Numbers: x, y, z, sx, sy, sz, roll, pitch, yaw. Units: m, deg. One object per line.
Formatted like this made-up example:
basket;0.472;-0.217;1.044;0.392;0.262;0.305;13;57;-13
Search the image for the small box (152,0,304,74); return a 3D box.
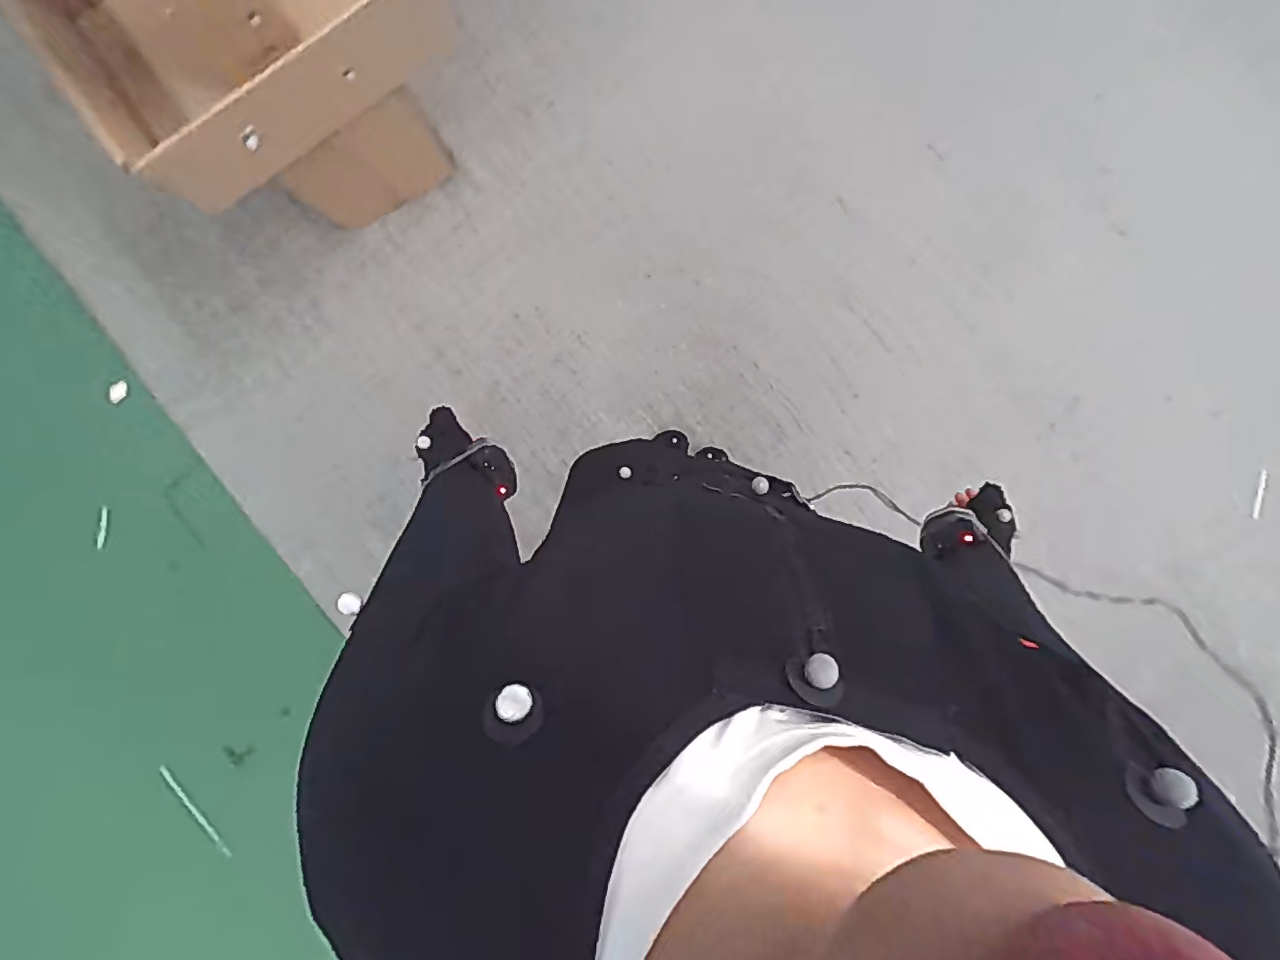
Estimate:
small box;-0.716;-0.834;0.906;0.168;0.176;0.179;-34;91;0
